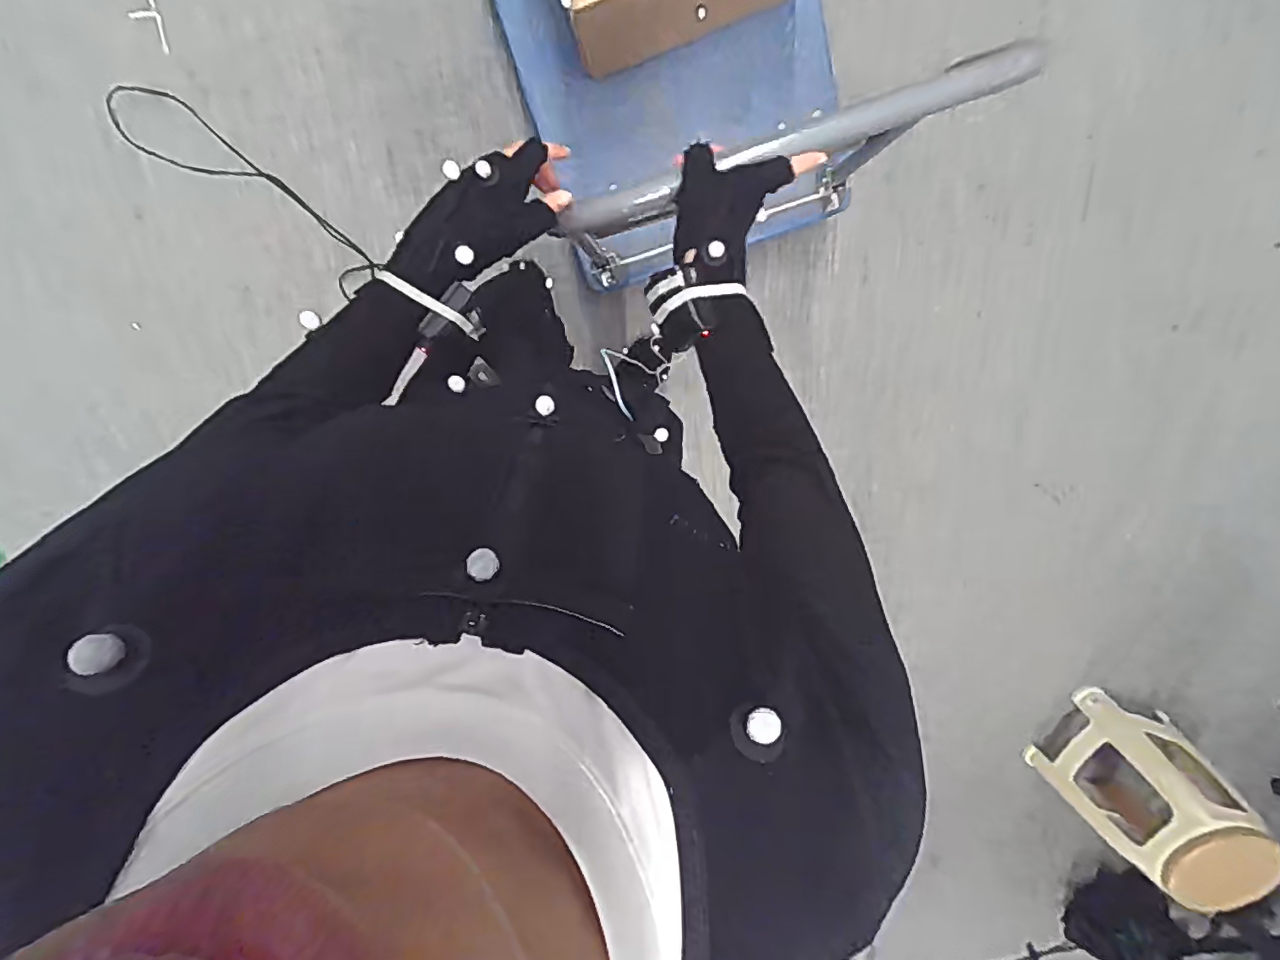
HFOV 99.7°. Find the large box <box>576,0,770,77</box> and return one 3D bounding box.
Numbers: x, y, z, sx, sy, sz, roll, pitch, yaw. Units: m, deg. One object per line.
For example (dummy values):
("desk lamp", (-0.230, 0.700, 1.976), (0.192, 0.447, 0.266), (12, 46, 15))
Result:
("large box", (0.057, -0.919, 0.833), (0.408, 0.320, 0.320), (-19, 109, 9))
